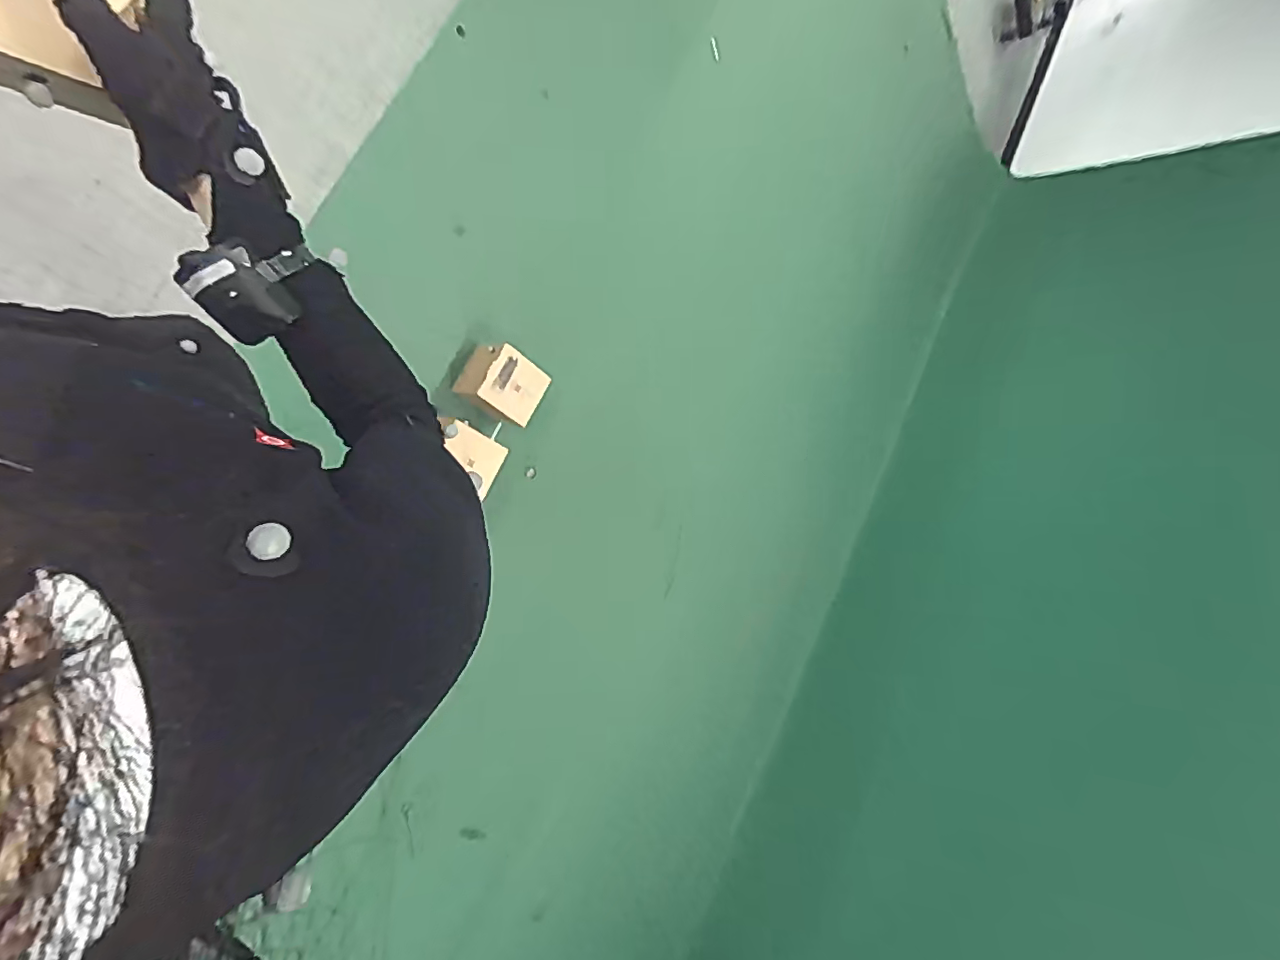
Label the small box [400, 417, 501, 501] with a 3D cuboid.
[{"bbox_3d":[-0.526,-0.062,1.497,0.179,0.176,0.168,34,77,-41],"label":"small box"}]
